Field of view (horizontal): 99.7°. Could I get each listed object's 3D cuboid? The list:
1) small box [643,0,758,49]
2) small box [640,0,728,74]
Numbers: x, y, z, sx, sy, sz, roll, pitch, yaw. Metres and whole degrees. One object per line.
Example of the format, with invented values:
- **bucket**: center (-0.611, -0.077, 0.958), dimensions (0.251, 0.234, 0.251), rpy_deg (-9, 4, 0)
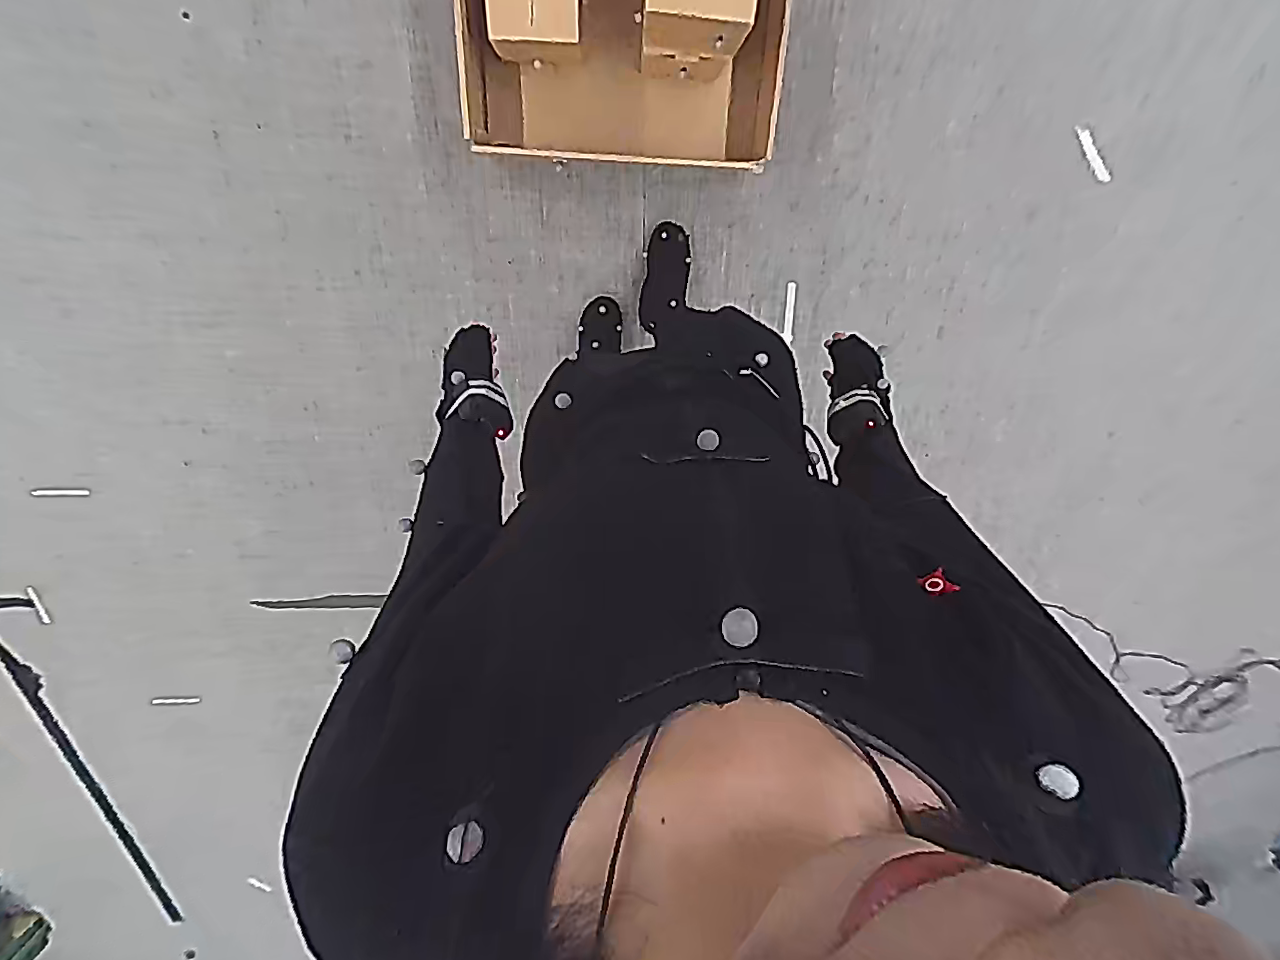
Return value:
- **small box**: center (0.100, -0.834, 0.883), dimensions (0.179, 0.176, 0.168), rpy_deg (4, 114, -3)
- **small box**: center (0.090, -0.901, 1.033), dimensions (0.168, 0.176, 0.179), rpy_deg (4, 117, -2)
